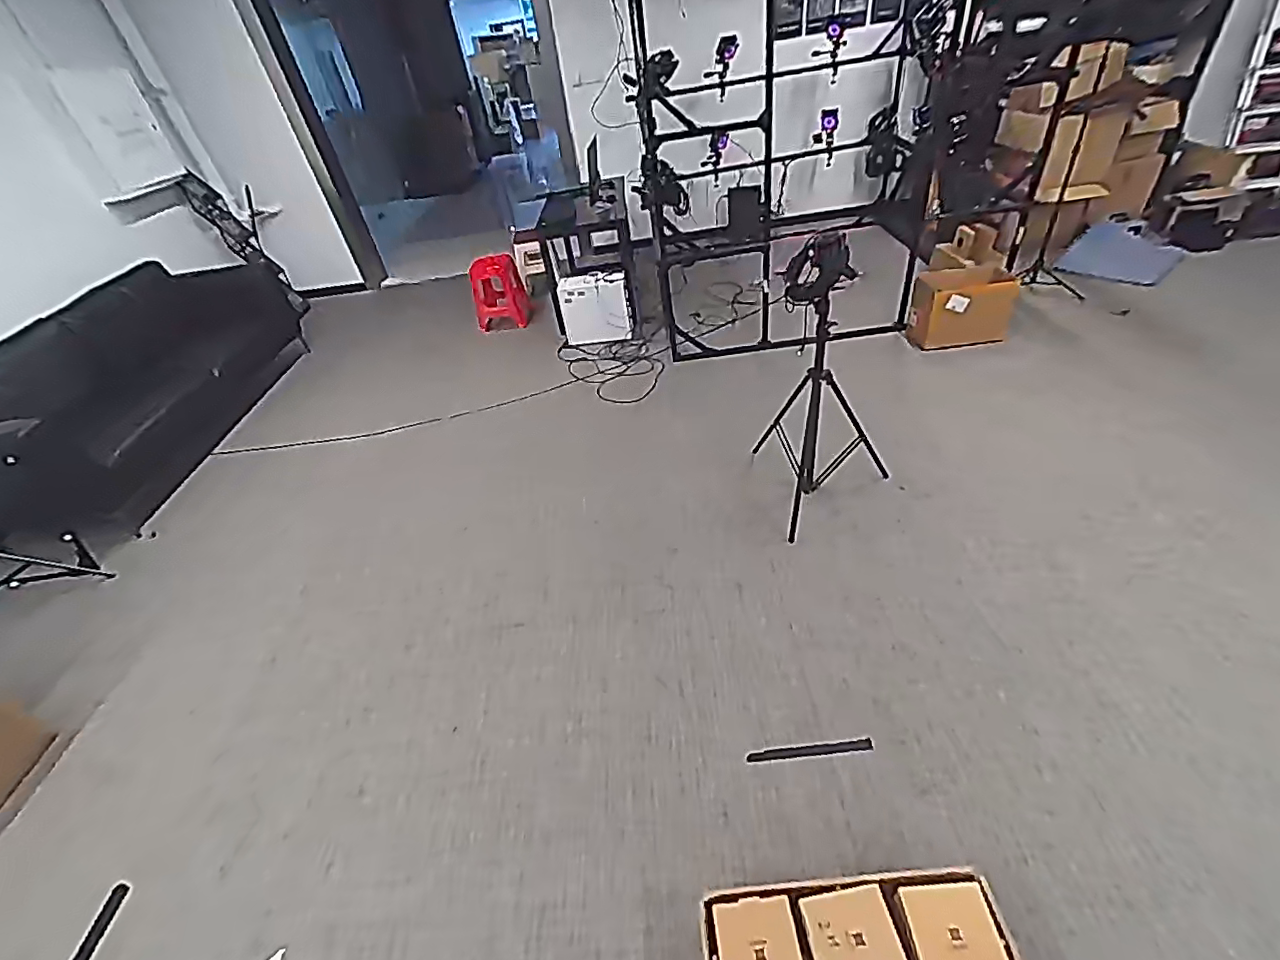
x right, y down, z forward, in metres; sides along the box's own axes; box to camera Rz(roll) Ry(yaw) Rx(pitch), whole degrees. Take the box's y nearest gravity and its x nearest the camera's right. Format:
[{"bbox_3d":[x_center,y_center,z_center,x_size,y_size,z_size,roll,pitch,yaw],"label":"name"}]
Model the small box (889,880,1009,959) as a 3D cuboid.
[{"bbox_3d":[0.638,0.964,1.125,0.168,0.176,0.179,-8,43,4],"label":"small box"}]
